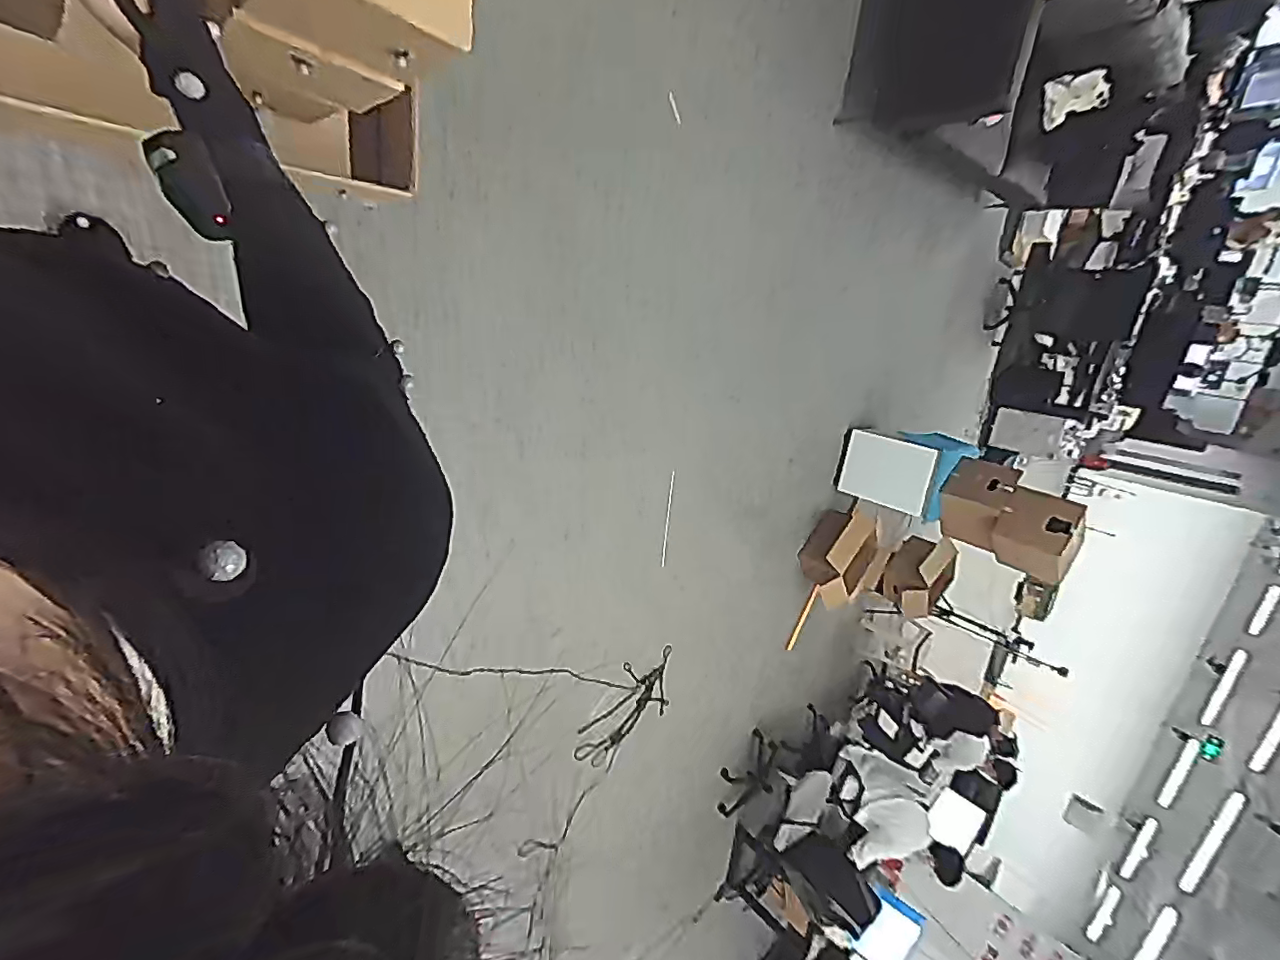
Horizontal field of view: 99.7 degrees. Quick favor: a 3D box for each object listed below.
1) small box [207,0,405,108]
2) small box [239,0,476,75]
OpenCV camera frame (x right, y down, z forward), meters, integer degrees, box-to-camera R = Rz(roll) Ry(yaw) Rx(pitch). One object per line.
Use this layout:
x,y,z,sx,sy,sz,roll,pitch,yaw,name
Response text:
-0.388,-0.566,0.630,0.179,0.176,0.168,-5,110,-44,small box
-0.273,-0.528,0.521,0.179,0.176,0.168,-4,109,-43,small box
